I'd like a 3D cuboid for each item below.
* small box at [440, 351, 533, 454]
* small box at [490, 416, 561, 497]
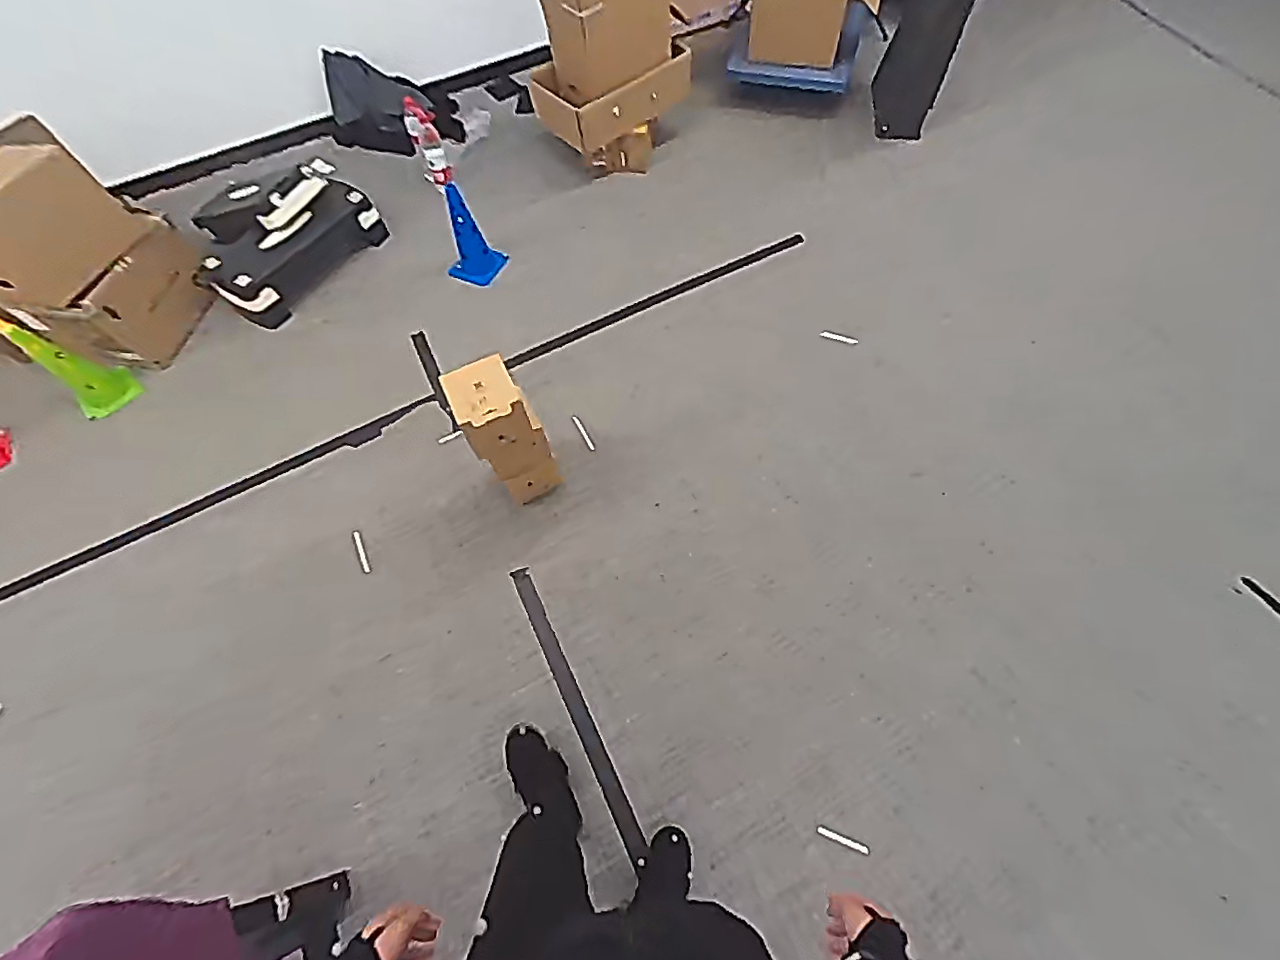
[{"bbox_3d":[-0.400,-0.201,1.422,0.168,0.176,0.179,-25,64,-10],"label":"small box"},{"bbox_3d":[-0.367,-0.065,1.722,0.168,0.176,0.179,-30,64,-12],"label":"small box"}]
